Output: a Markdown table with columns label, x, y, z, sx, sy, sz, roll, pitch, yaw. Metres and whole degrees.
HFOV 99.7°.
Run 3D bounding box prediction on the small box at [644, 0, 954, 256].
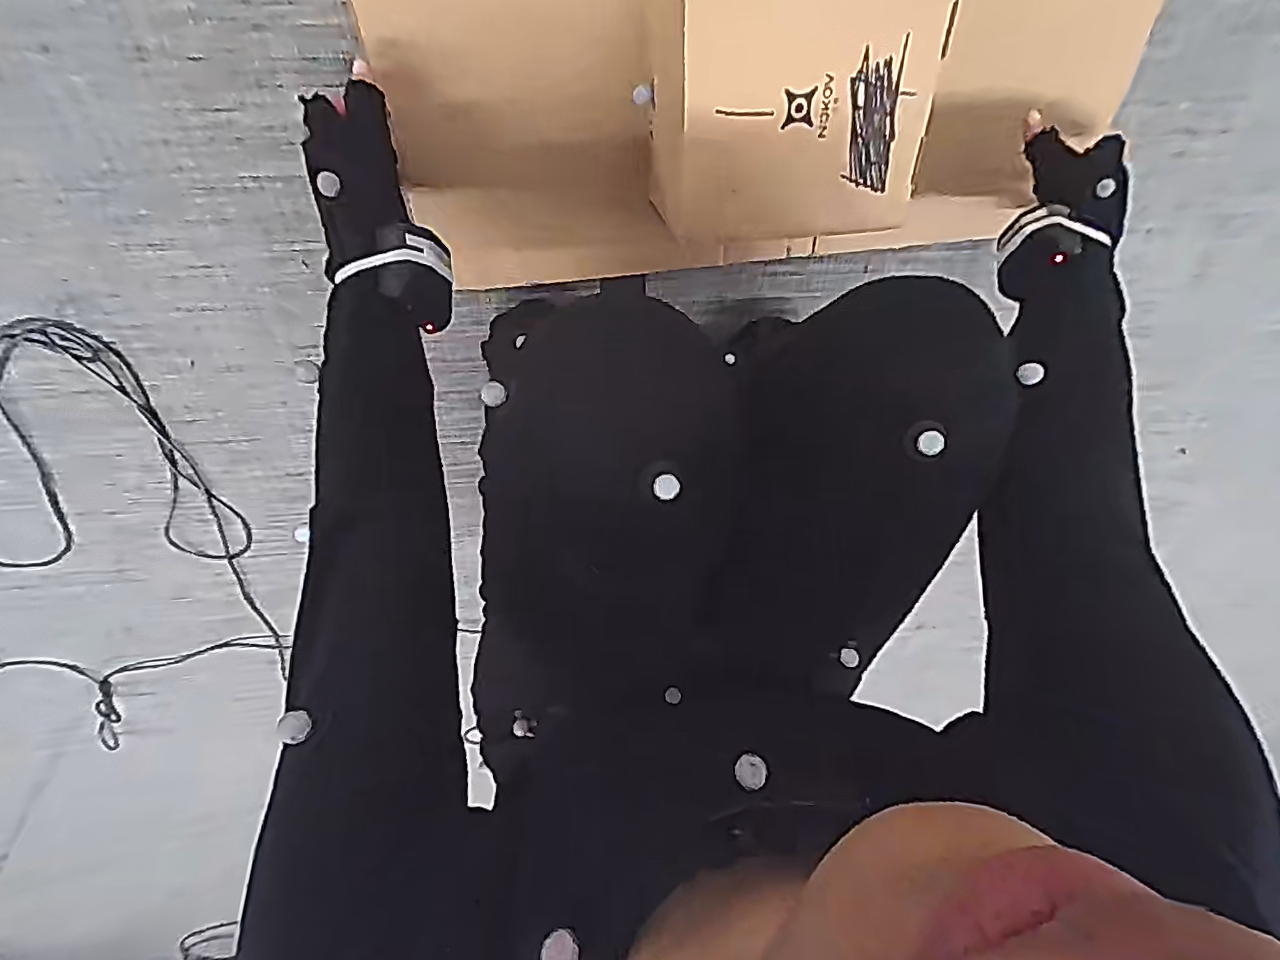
| label | x | y | z | sx | sy | sz | roll | pitch | yaw |
| --- | --- | --- | --- | --- | --- | --- | --- | --- | --- |
| small box | 0.103 | -0.294 | 0.432 | 0.179 | 0.176 | 0.168 | -6 | 129 | -4 |
